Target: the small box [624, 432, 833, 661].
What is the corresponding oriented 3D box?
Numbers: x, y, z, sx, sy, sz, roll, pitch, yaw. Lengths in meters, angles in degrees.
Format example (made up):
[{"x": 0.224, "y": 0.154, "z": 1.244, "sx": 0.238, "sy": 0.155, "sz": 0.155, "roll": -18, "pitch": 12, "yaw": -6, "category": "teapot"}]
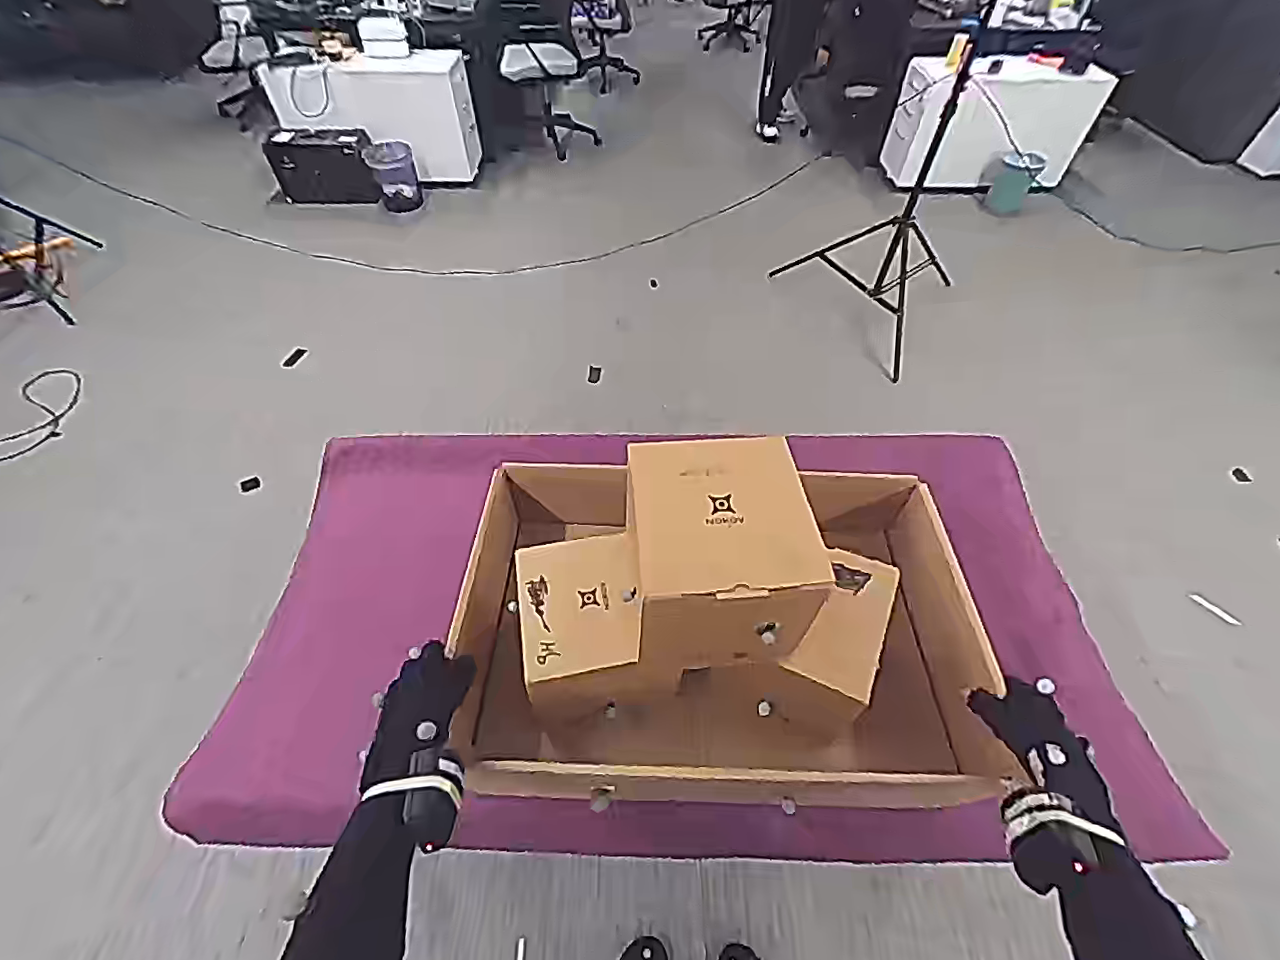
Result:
[{"x": 0.072, "y": 0.074, "z": 0.555, "sx": 0.168, "sy": 0.176, "sz": 0.179, "roll": -3, "pitch": 50, "yaw": -5, "category": "small box"}]
